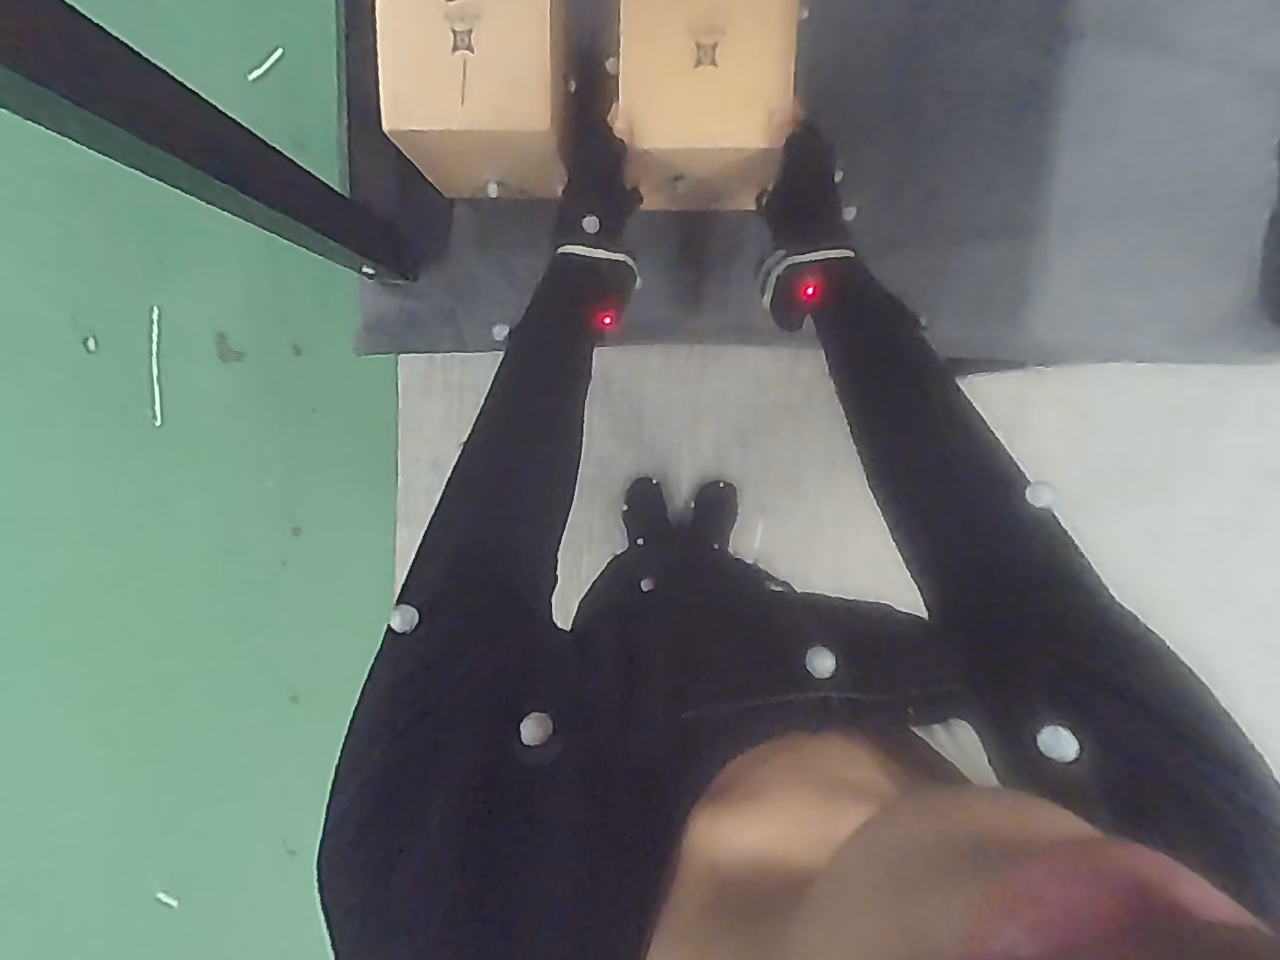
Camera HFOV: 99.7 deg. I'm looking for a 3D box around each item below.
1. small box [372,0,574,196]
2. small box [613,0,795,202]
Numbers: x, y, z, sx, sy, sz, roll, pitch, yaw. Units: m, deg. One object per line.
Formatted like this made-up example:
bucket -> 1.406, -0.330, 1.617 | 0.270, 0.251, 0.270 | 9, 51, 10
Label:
small box -> -0.165, -0.432, 0.580 | 0.168, 0.176, 0.179 | 1, 97, 1
small box -> 0.065, -0.414, 0.575 | 0.168, 0.176, 0.179 | 2, 96, 4
